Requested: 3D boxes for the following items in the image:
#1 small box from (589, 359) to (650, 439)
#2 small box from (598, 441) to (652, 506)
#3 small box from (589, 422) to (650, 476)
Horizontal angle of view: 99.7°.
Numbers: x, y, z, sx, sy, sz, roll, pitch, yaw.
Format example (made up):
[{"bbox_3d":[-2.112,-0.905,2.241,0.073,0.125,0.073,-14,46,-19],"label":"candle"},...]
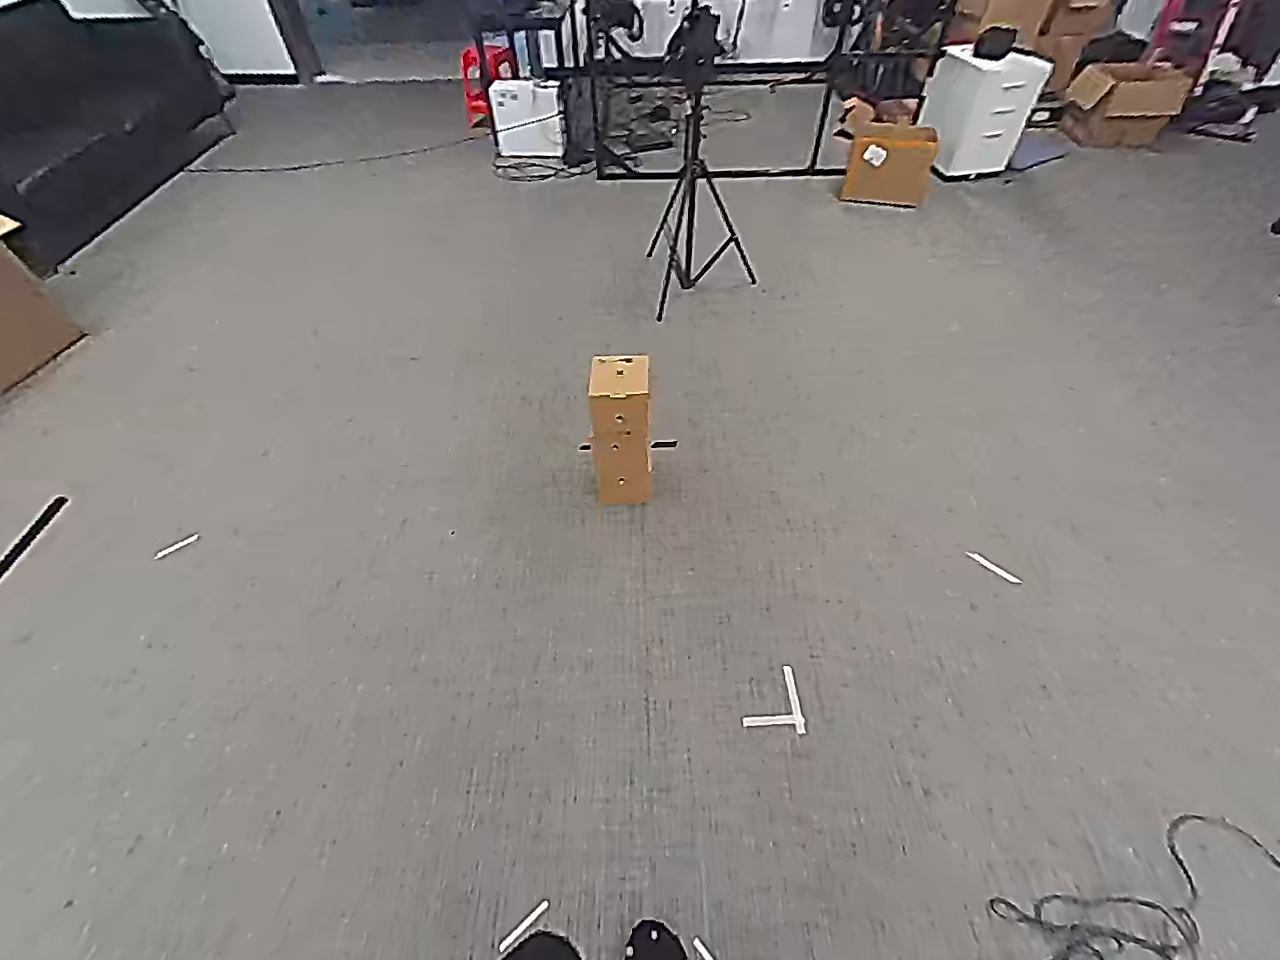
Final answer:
[{"bbox_3d":[-0.054,-0.233,1.589,0.168,0.176,0.179,0,51,2],"label":"small box"},{"bbox_3d":[-0.049,-0.022,1.840,0.179,0.176,0.168,-1,50,1],"label":"small box"},{"bbox_3d":[-0.060,-0.125,1.712,0.179,0.176,0.168,0,51,2],"label":"small box"}]
